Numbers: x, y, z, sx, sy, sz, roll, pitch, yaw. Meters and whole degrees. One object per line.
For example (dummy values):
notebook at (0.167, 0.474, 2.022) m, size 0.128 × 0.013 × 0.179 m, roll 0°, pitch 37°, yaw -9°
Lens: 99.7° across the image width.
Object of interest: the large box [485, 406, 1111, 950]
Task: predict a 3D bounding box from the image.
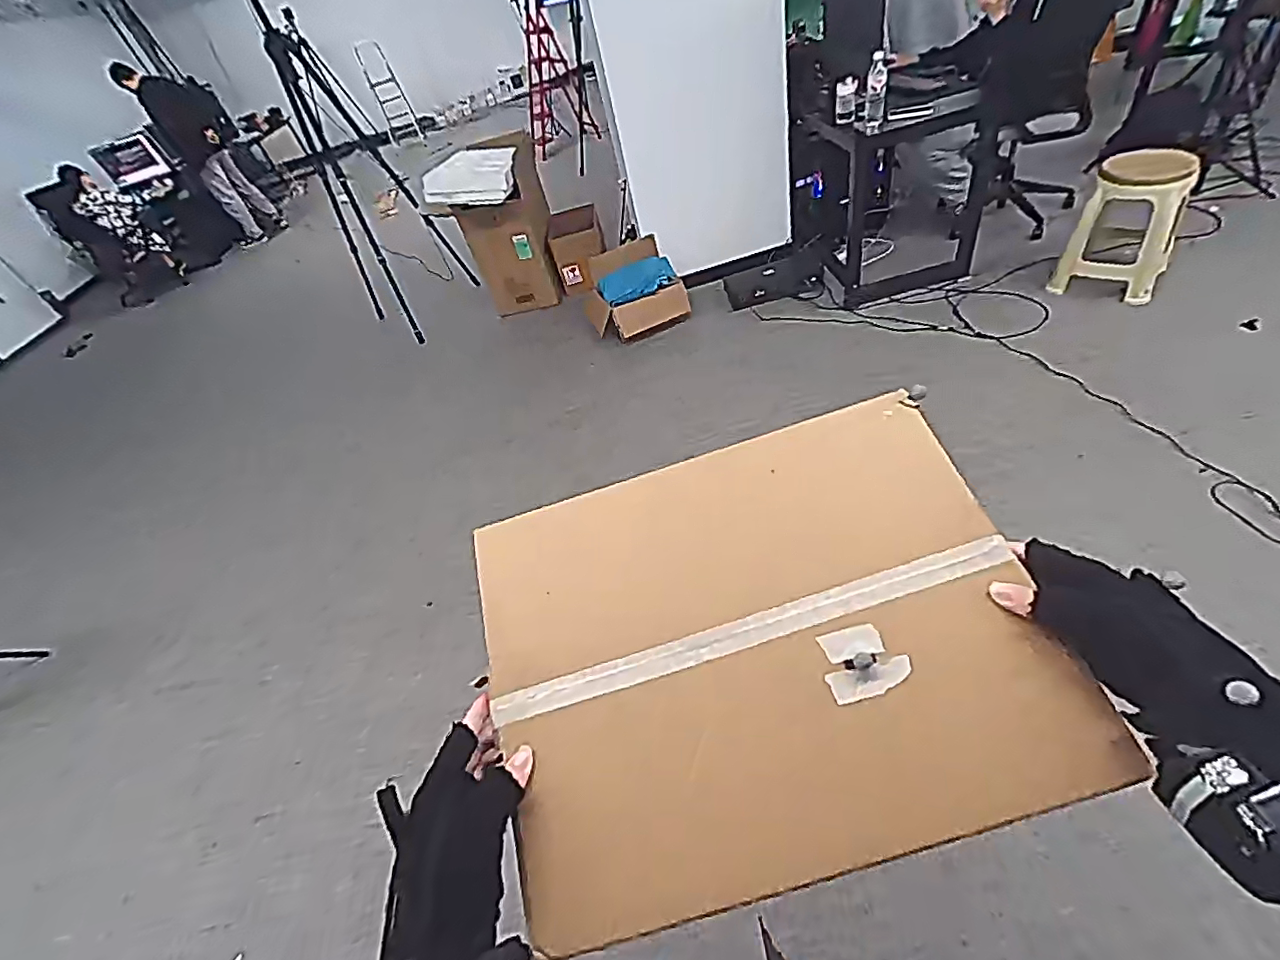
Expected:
large box at (0.107, 0.189, 0.558) m, size 0.408 × 0.320 × 0.320 m, roll -19°, pitch 62°, yaw 1°
